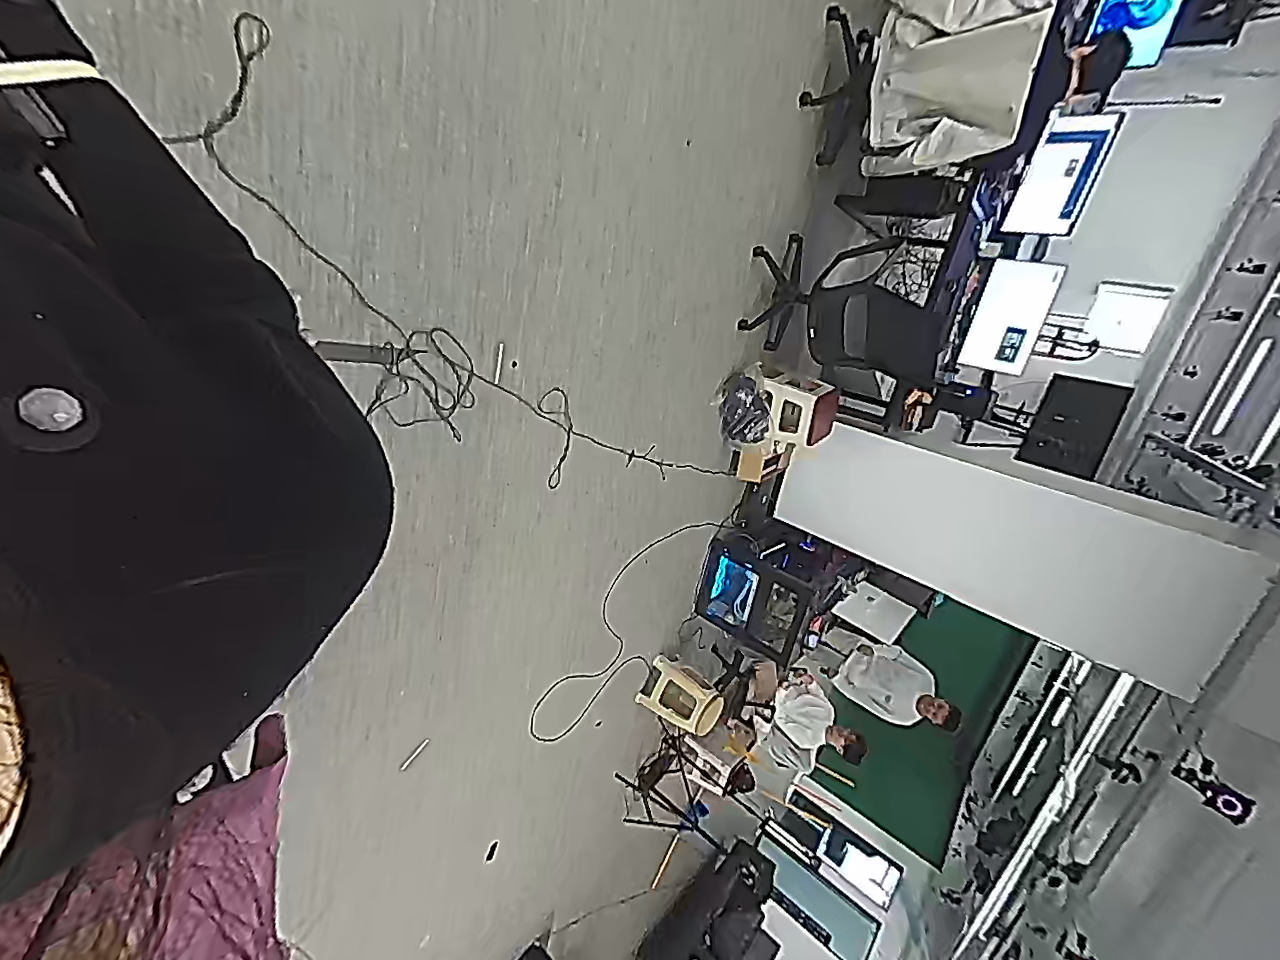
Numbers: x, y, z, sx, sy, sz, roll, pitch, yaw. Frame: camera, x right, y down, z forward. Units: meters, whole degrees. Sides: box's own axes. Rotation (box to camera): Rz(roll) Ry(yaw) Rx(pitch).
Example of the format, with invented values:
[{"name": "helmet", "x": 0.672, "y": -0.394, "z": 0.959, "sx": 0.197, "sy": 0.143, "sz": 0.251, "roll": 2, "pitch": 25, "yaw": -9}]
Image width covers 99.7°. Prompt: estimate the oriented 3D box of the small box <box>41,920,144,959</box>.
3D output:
[{"name": "small box", "x": -0.753, "y": 0.741, "z": 0.711, "sx": 0.168, "sy": 0.176, "sz": 0.179, "roll": -15, "pitch": 123, "yaw": -48}]
